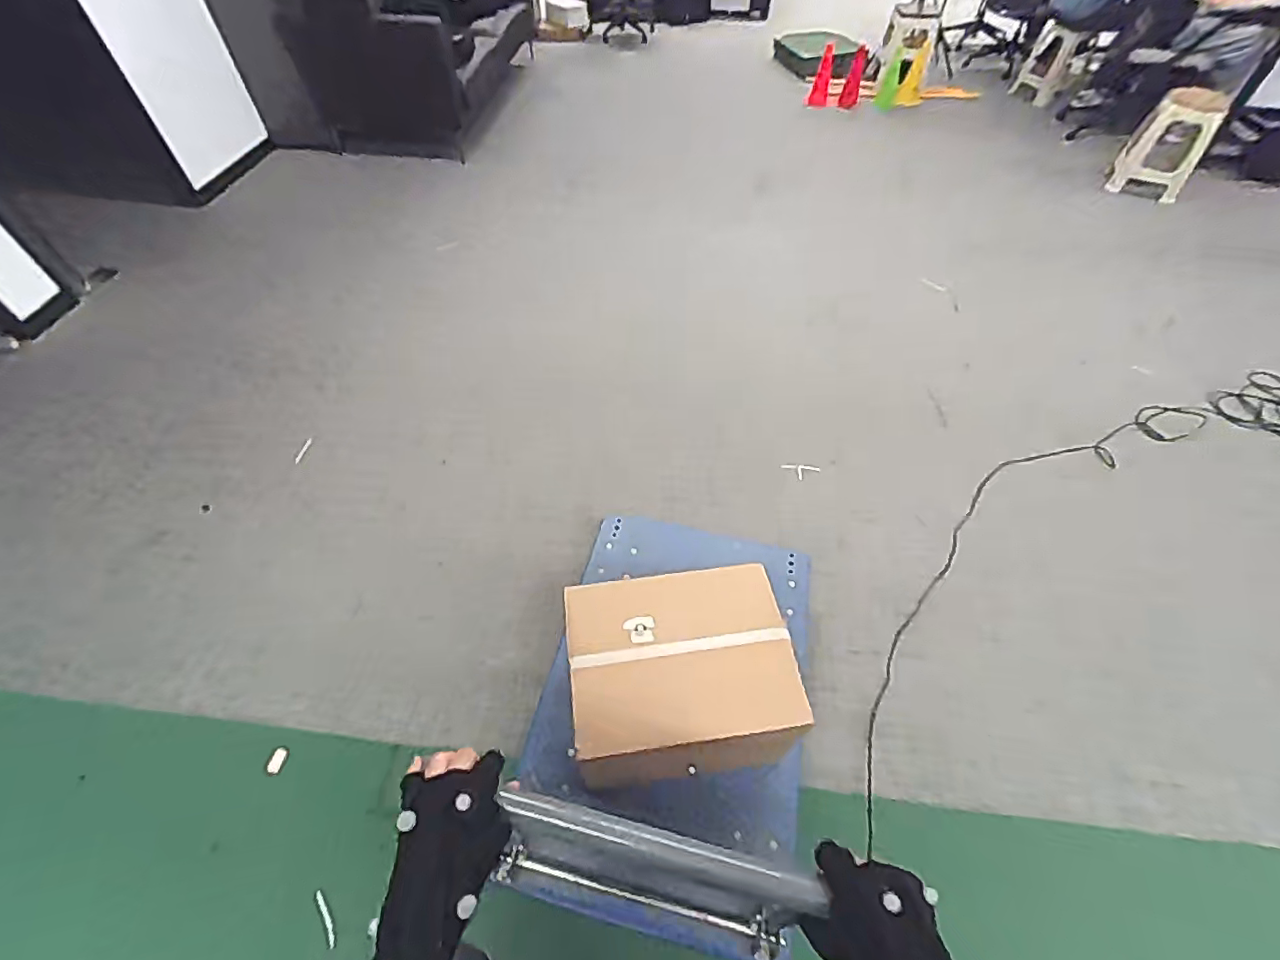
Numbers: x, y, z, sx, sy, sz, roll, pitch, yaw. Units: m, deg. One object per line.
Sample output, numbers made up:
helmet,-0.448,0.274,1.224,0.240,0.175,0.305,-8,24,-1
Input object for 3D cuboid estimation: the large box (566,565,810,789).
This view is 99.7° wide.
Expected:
large box,0.076,0.409,1.108,0.408,0.320,0.320,-7,51,-5
